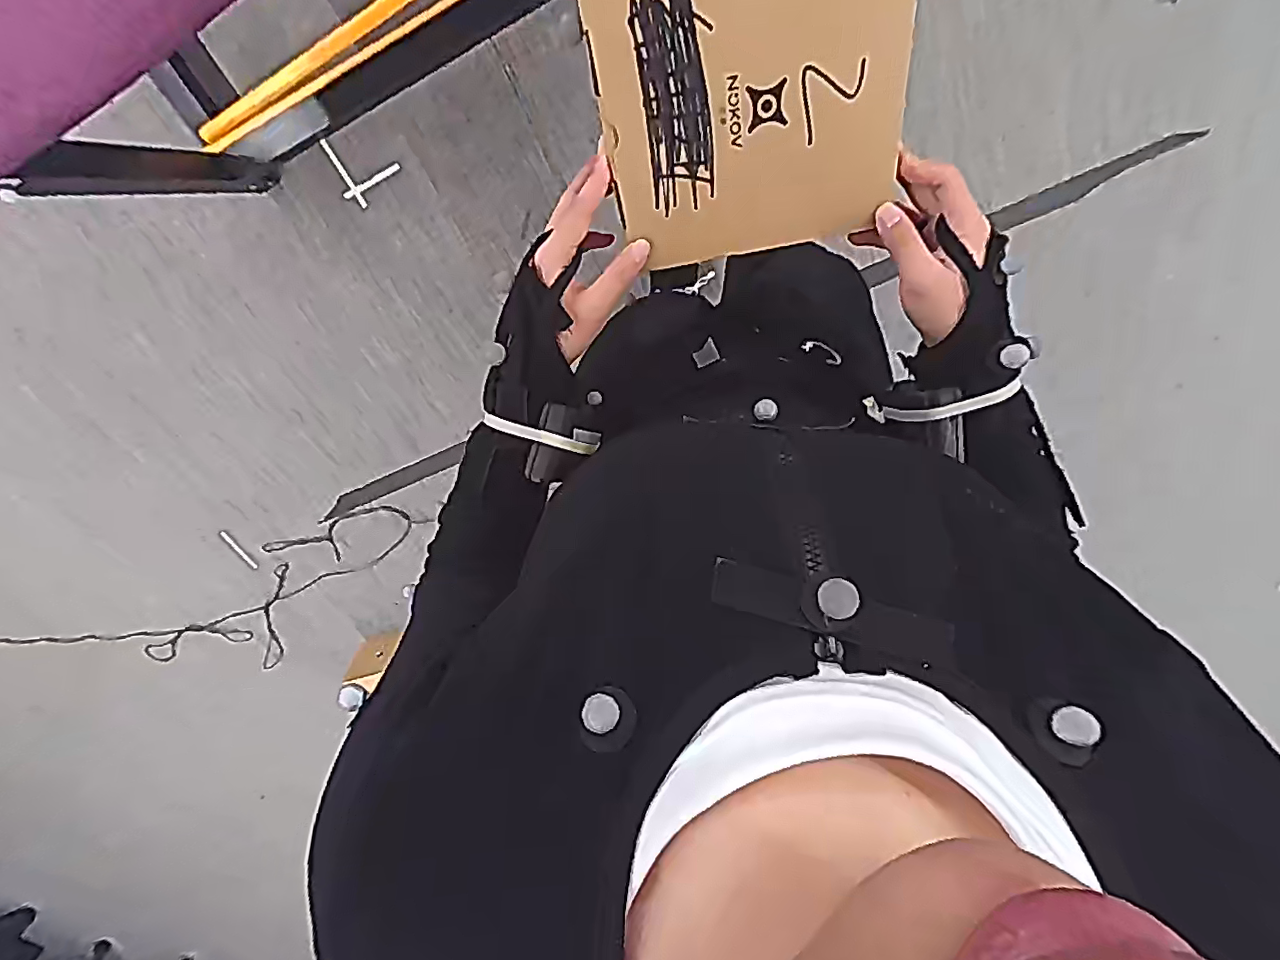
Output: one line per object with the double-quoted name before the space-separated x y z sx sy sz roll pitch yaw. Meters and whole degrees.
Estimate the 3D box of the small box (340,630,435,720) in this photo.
"small box" -0.755 0.585 1.635 0.179 0.176 0.168 -16 118 6
